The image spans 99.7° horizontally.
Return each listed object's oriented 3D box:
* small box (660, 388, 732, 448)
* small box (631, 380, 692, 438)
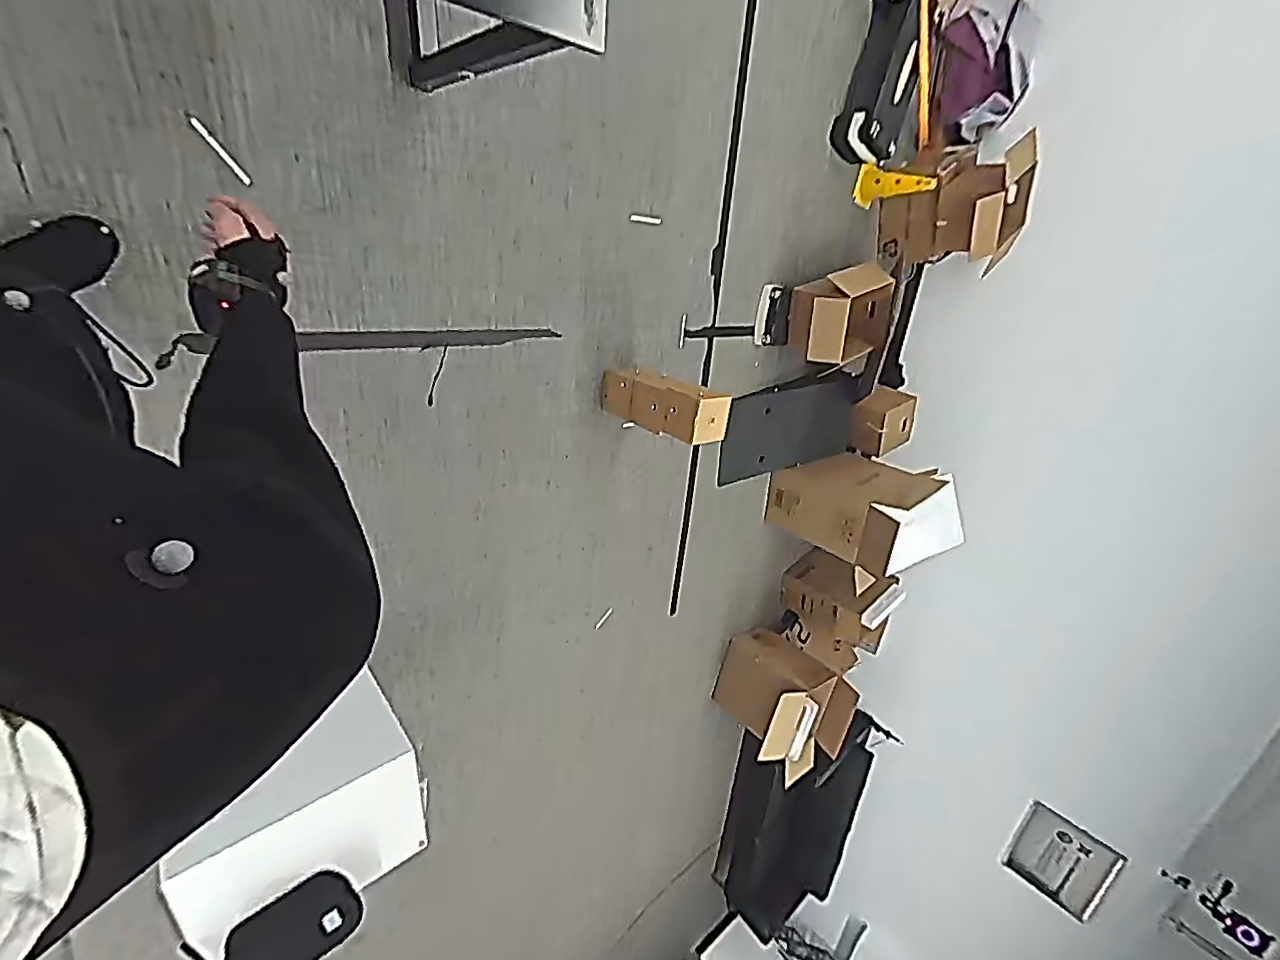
[{"bbox_3d":[0.198,-0.229,1.943,0.179,0.176,0.168,-13,120,-40],"label":"small box"},{"bbox_3d":[0.084,-0.276,2.049,0.168,0.176,0.179,-16,122,-40],"label":"small box"}]
